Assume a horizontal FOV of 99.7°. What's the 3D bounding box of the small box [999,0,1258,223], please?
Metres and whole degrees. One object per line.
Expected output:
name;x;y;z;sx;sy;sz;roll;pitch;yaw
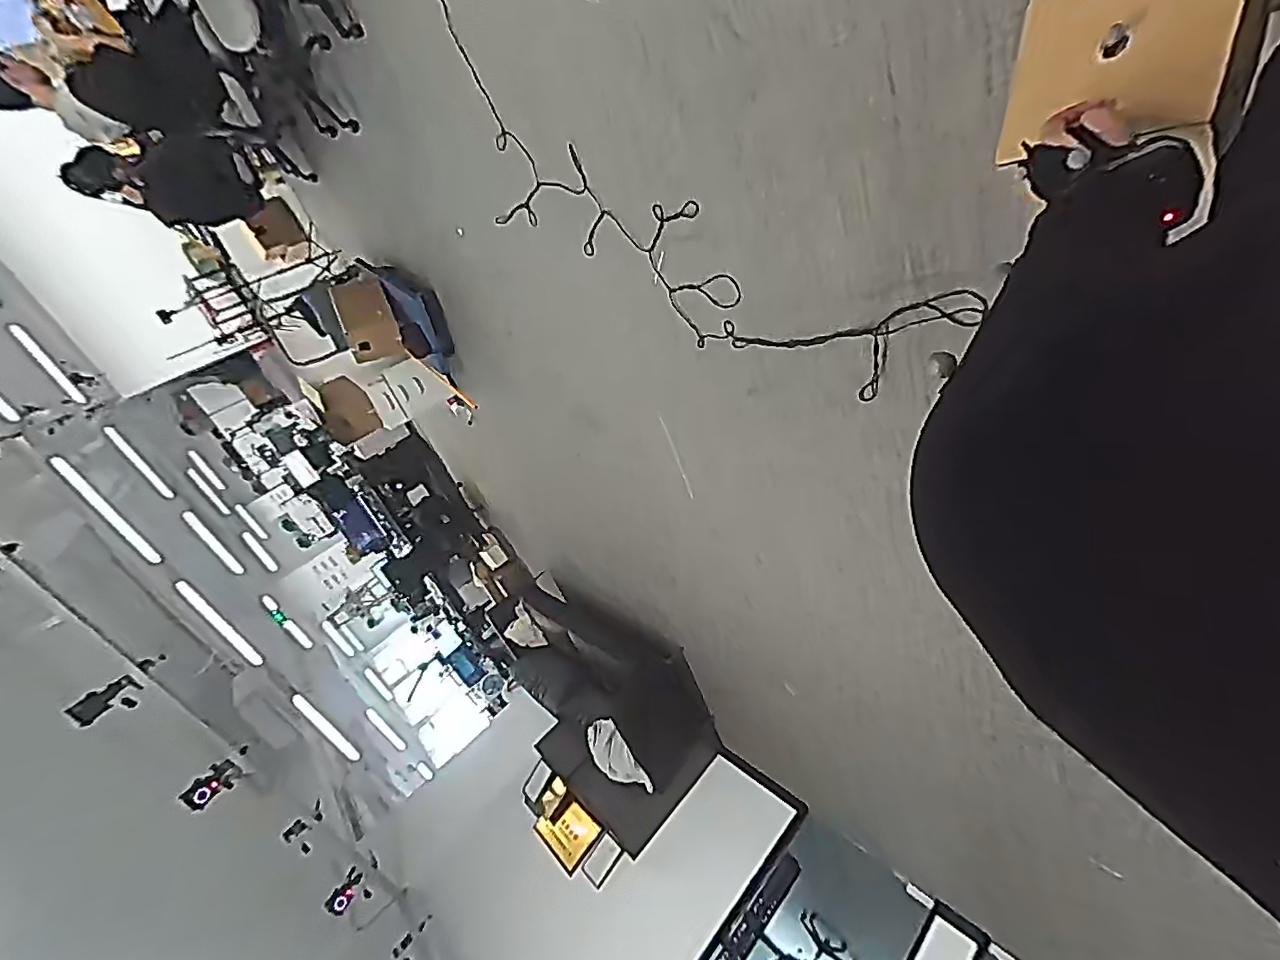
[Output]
small box;0.508;-0.400;0.568;0.168;0.179;0.176;15;101;48
